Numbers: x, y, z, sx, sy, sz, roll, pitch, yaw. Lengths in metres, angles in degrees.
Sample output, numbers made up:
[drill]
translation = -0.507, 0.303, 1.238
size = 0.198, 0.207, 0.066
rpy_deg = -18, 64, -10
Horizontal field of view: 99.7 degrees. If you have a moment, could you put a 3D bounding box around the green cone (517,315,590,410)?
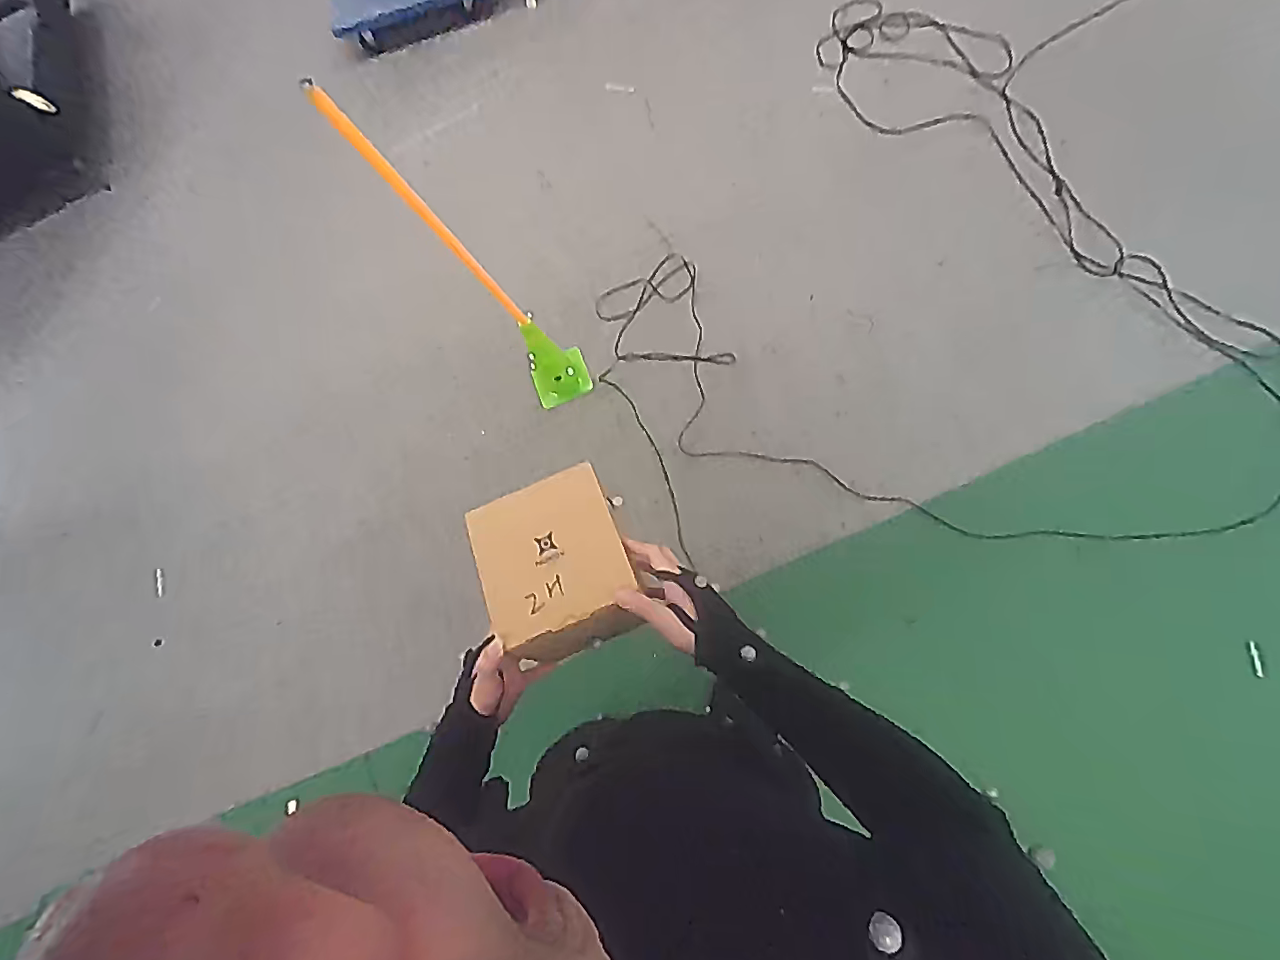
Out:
[green cone]
translation = -0.327, -0.420, 1.797
size = 0.202, 0.368, 0.200
rpy_deg = -23, 69, 1
